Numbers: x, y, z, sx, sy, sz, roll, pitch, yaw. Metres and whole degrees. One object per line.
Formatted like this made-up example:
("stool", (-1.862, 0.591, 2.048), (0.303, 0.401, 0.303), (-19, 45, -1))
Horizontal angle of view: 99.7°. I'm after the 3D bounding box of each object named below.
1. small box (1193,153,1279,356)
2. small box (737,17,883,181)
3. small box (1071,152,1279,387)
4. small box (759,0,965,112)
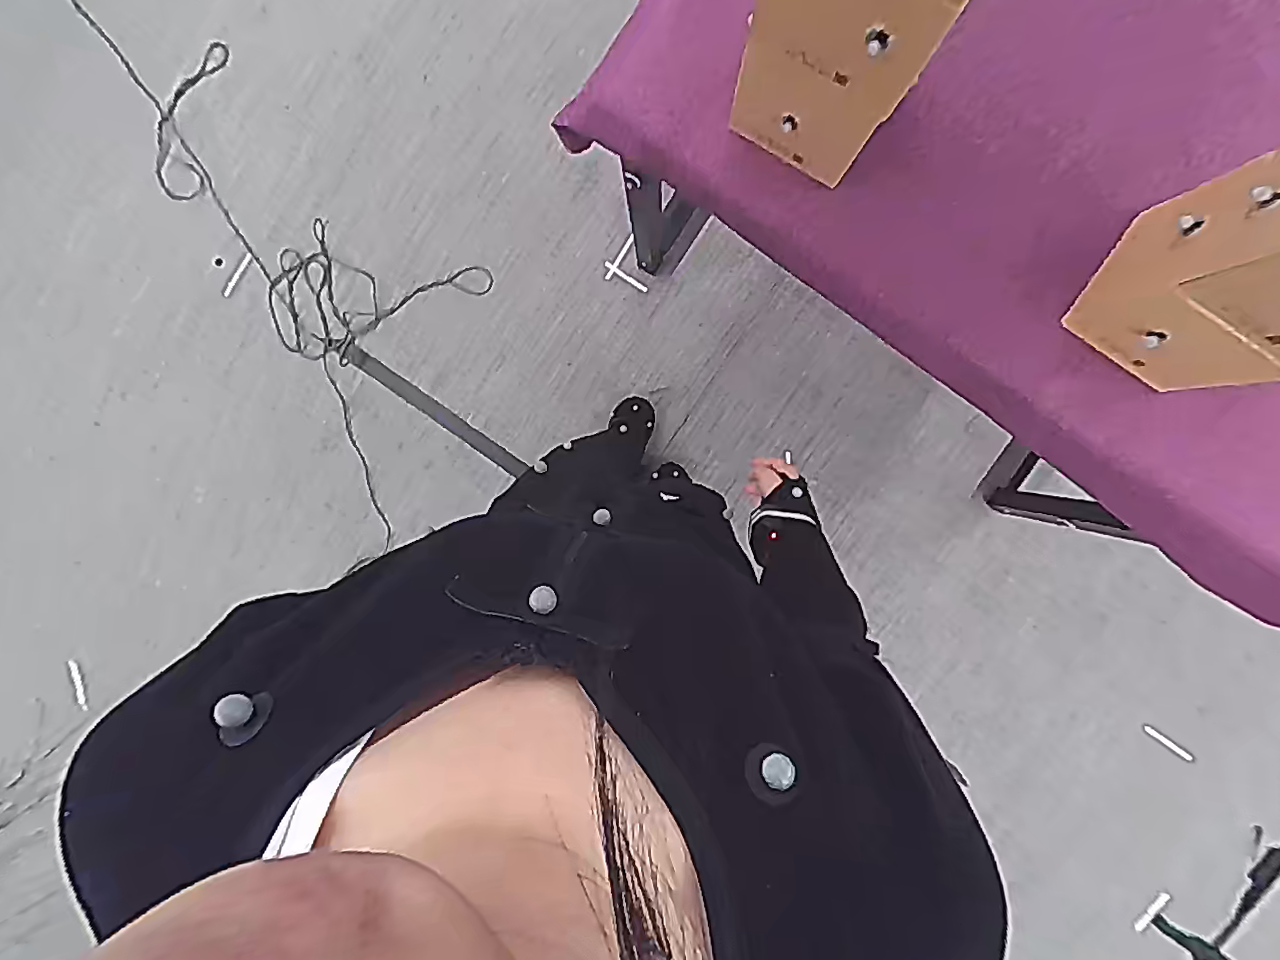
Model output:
("small box", (0.668, -0.220, 0.478), (0.168, 0.176, 0.179), (35, 95, 0))
("small box", (0.229, -0.498, 0.637), (0.168, 0.176, 0.179), (30, 94, -1))
("small box", (0.672, -0.228, 0.642), (0.168, 0.176, 0.179), (35, 94, 0))
("small box", (0.221, -0.480, 0.476), (0.168, 0.176, 0.179), (28, 94, -1))
